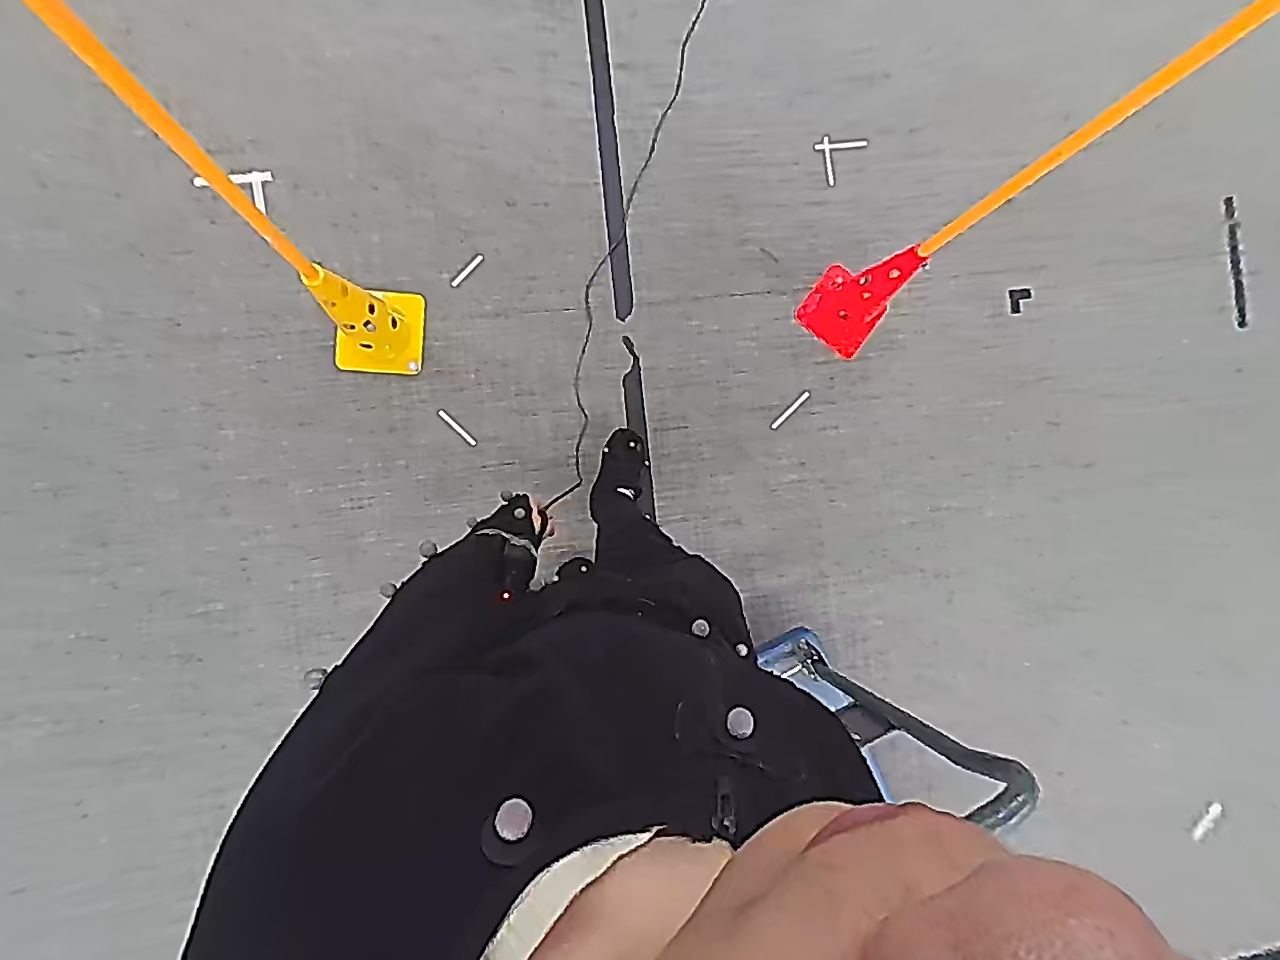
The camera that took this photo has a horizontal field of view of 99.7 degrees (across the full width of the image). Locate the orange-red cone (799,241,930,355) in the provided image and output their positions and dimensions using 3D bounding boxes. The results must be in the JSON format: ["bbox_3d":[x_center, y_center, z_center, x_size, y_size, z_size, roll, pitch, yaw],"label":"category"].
[{"bbox_3d":[0.564,-0.465,1.282,0.198,0.360,0.199,39,85,-3],"label":"orange-red cone"}]
